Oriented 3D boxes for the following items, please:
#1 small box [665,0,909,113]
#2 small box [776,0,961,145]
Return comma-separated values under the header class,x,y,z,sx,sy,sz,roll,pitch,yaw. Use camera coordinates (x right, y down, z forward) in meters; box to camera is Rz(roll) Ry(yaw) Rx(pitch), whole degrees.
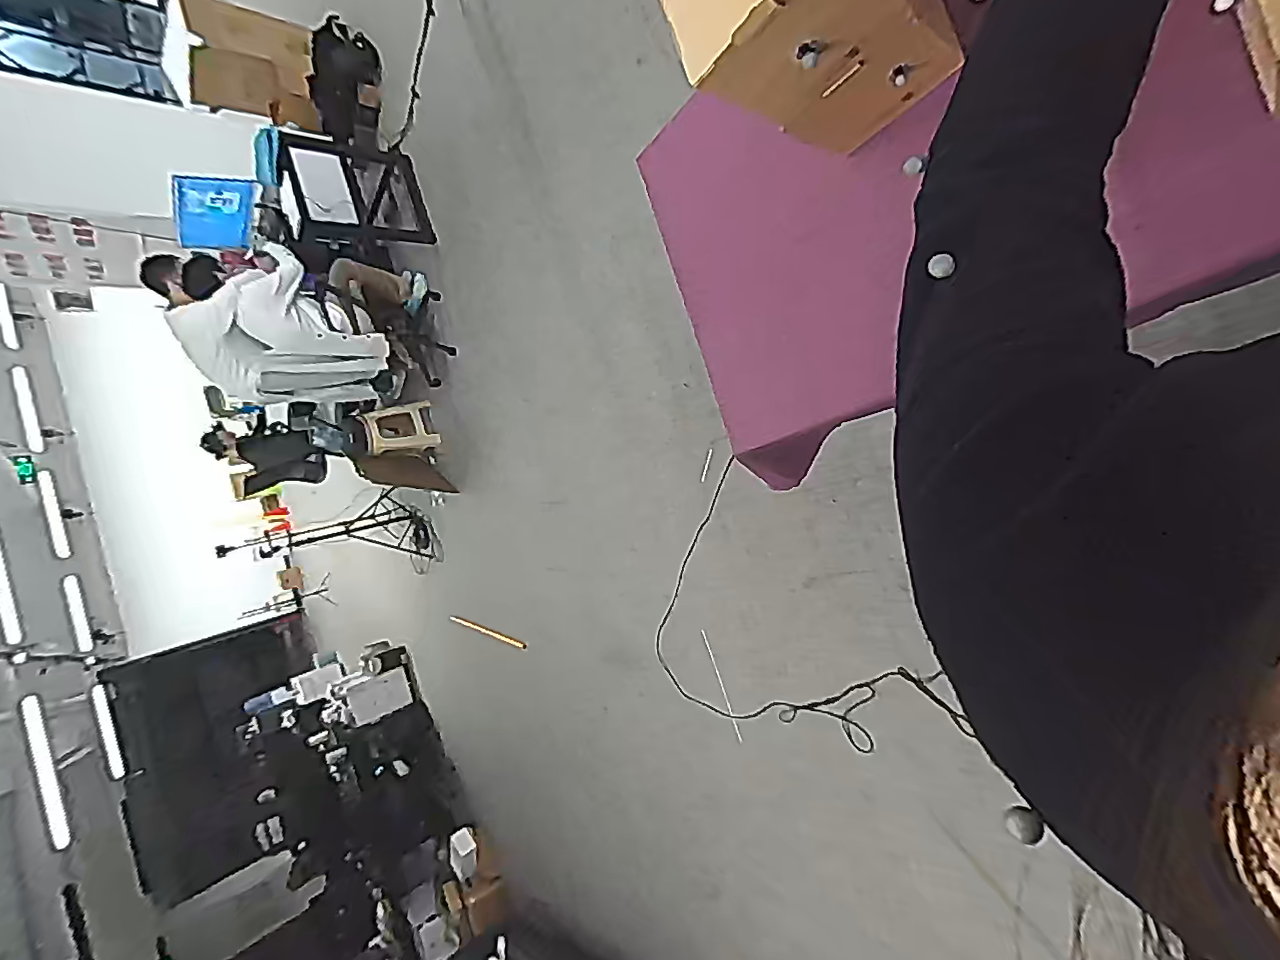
class,x,y,z,sx,sy,sz,roll,pitch,yaw
small box,0.140,-0.509,0.544,0.168,0.176,0.179,-21,86,48
small box,0.257,-0.542,0.656,0.168,0.176,0.179,-21,85,49
